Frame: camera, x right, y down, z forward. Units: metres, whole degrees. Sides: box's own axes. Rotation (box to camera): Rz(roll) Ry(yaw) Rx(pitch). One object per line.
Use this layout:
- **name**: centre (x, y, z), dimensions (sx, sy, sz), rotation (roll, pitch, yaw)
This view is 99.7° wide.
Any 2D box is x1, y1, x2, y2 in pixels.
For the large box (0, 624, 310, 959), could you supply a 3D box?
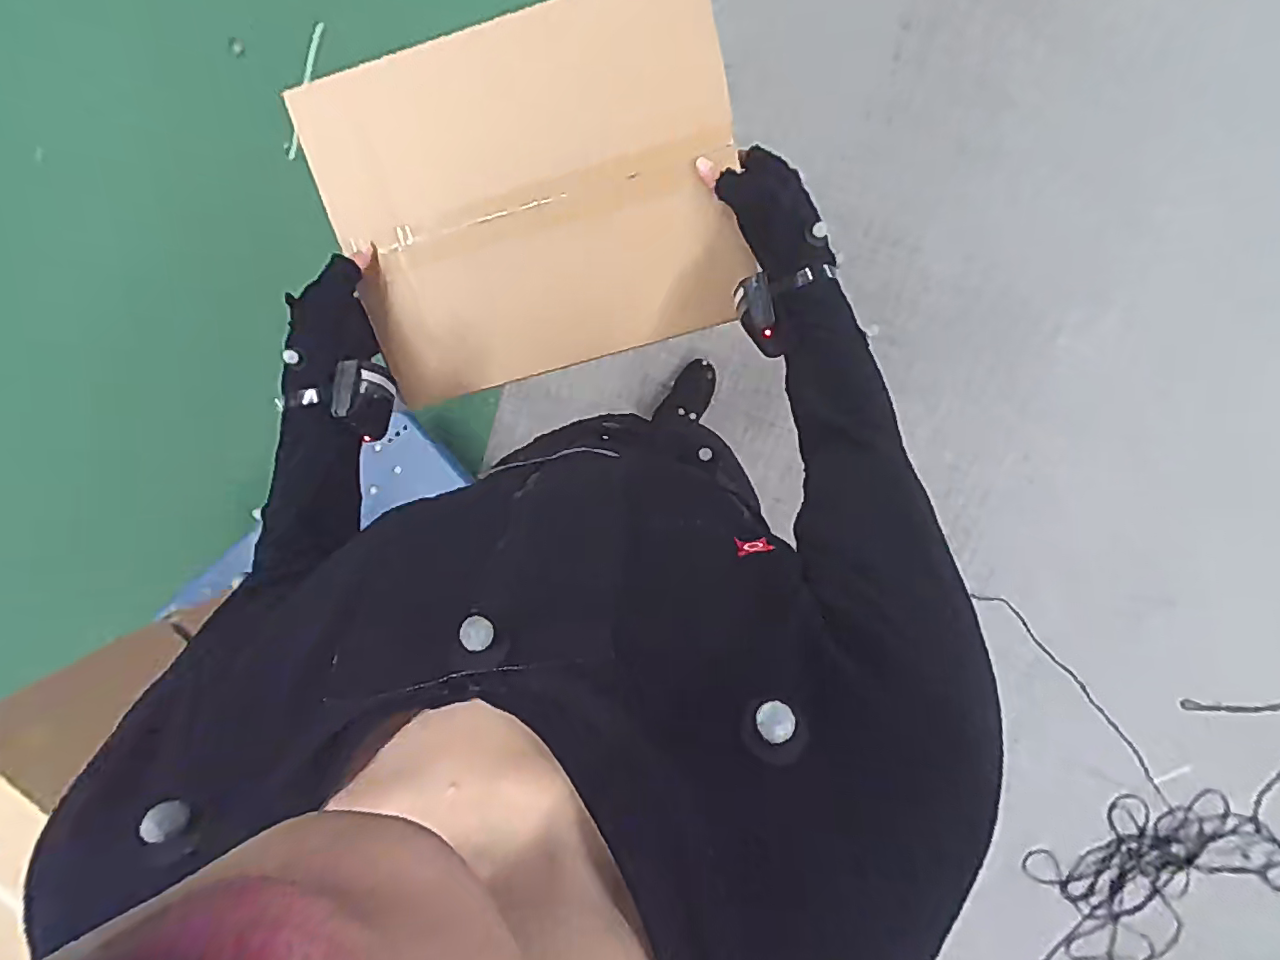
- **large box**: centre (-0.878, 0.530, 0.900), dimensions (0.320, 0.320, 0.408), rotation (-39, 97, 11)
